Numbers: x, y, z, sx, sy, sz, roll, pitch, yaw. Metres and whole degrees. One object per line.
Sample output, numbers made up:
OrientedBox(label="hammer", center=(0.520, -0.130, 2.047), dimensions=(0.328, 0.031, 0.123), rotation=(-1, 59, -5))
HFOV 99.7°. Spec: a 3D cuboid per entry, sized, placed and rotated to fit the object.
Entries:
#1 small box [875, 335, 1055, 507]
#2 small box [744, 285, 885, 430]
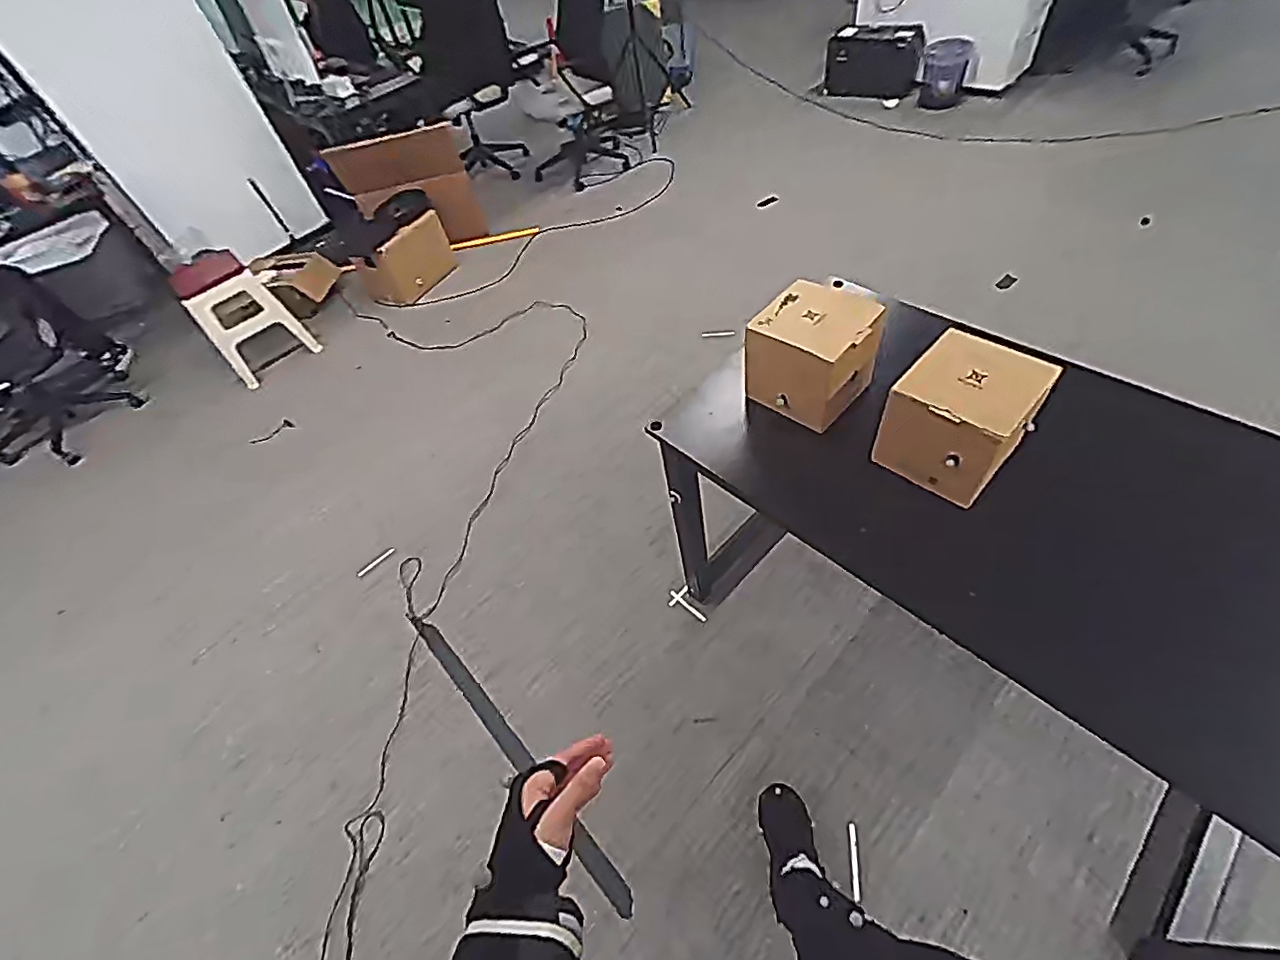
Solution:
OrientedBox(label="small box", center=(0.494, -0.090, 0.852), dimensions=(0.179, 0.176, 0.168), rotation=(-41, 57, -22))
OrientedBox(label="small box", center=(0.307, -0.217, 0.984), dimensions=(0.179, 0.176, 0.168), rotation=(34, 65, 29))
